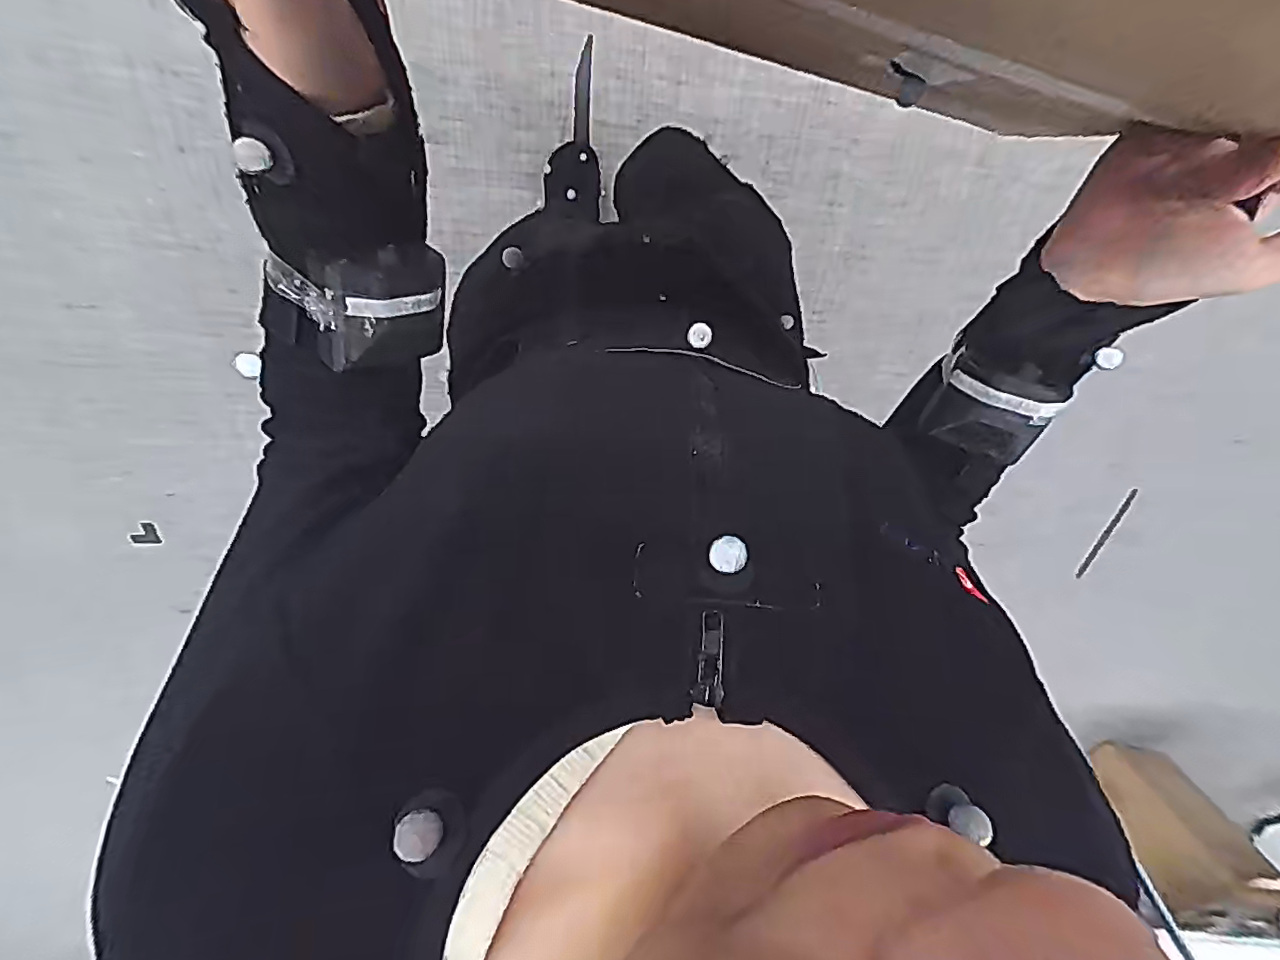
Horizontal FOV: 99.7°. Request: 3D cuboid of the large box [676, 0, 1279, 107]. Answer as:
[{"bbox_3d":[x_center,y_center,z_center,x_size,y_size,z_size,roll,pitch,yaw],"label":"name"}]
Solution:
[{"bbox_3d":[0.106,-0.323,0.119,0.408,0.320,0.320,6,121,-12],"label":"large box"}]
